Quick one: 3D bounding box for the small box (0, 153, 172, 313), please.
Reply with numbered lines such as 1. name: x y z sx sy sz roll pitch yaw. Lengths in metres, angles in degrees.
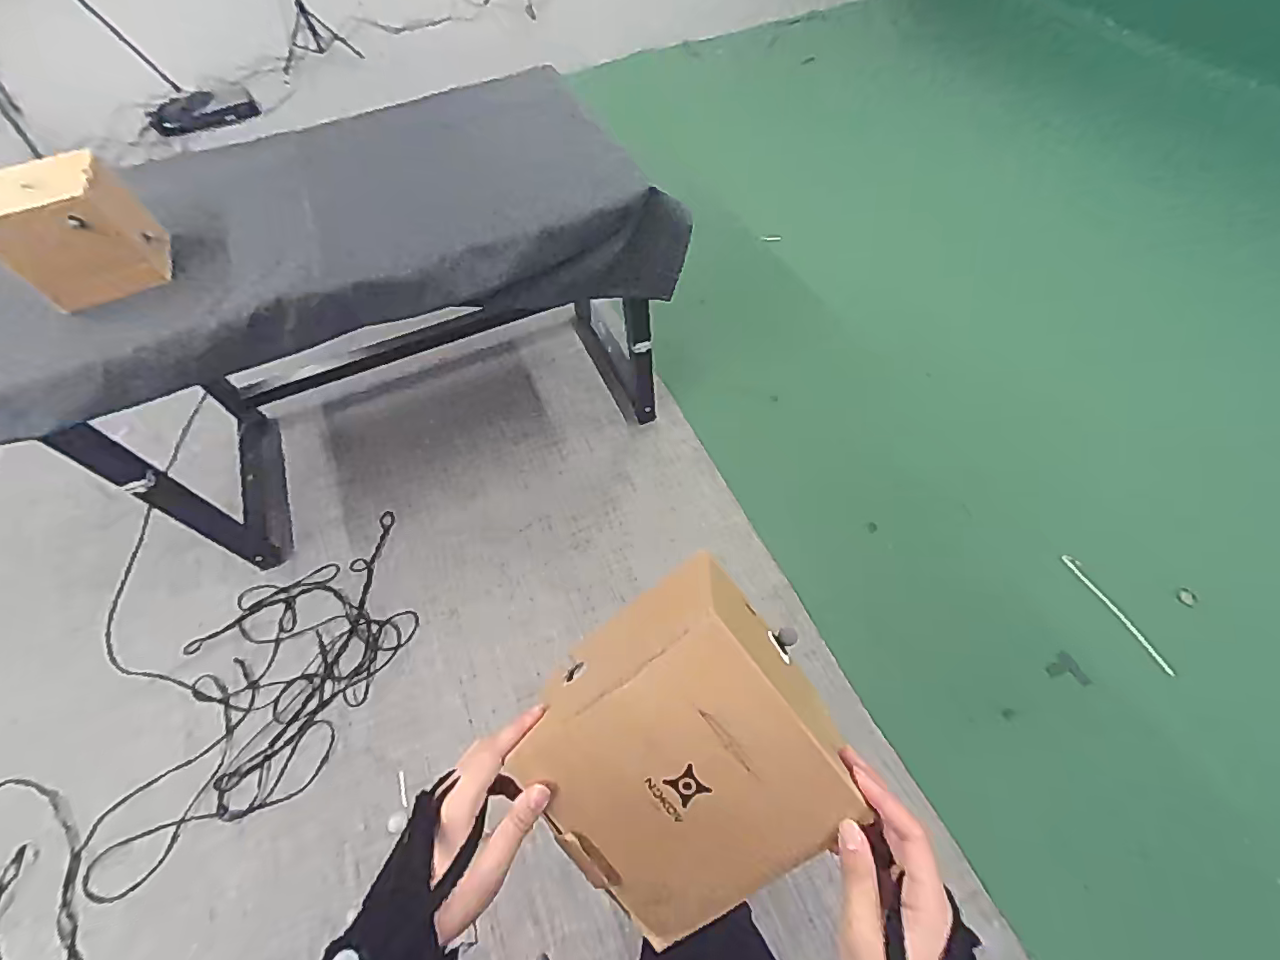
1. small box: -0.953 -0.413 0.918 0.179 0.176 0.168 -23 59 -12
